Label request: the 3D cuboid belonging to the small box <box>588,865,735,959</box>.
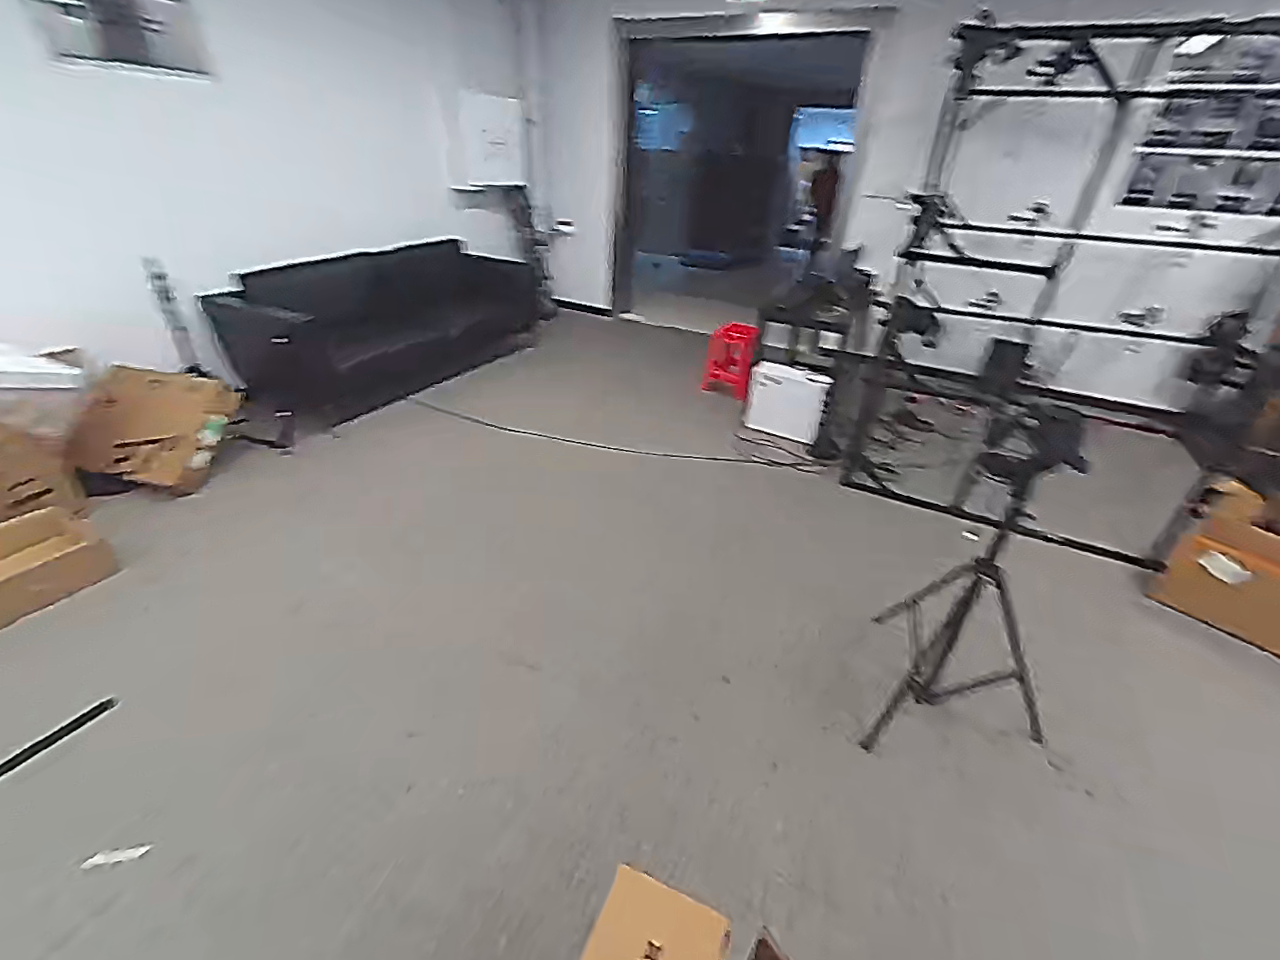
[{"bbox_3d":[0.021,0.692,0.743,0.168,0.176,0.179,13,36,21],"label":"small box"}]
